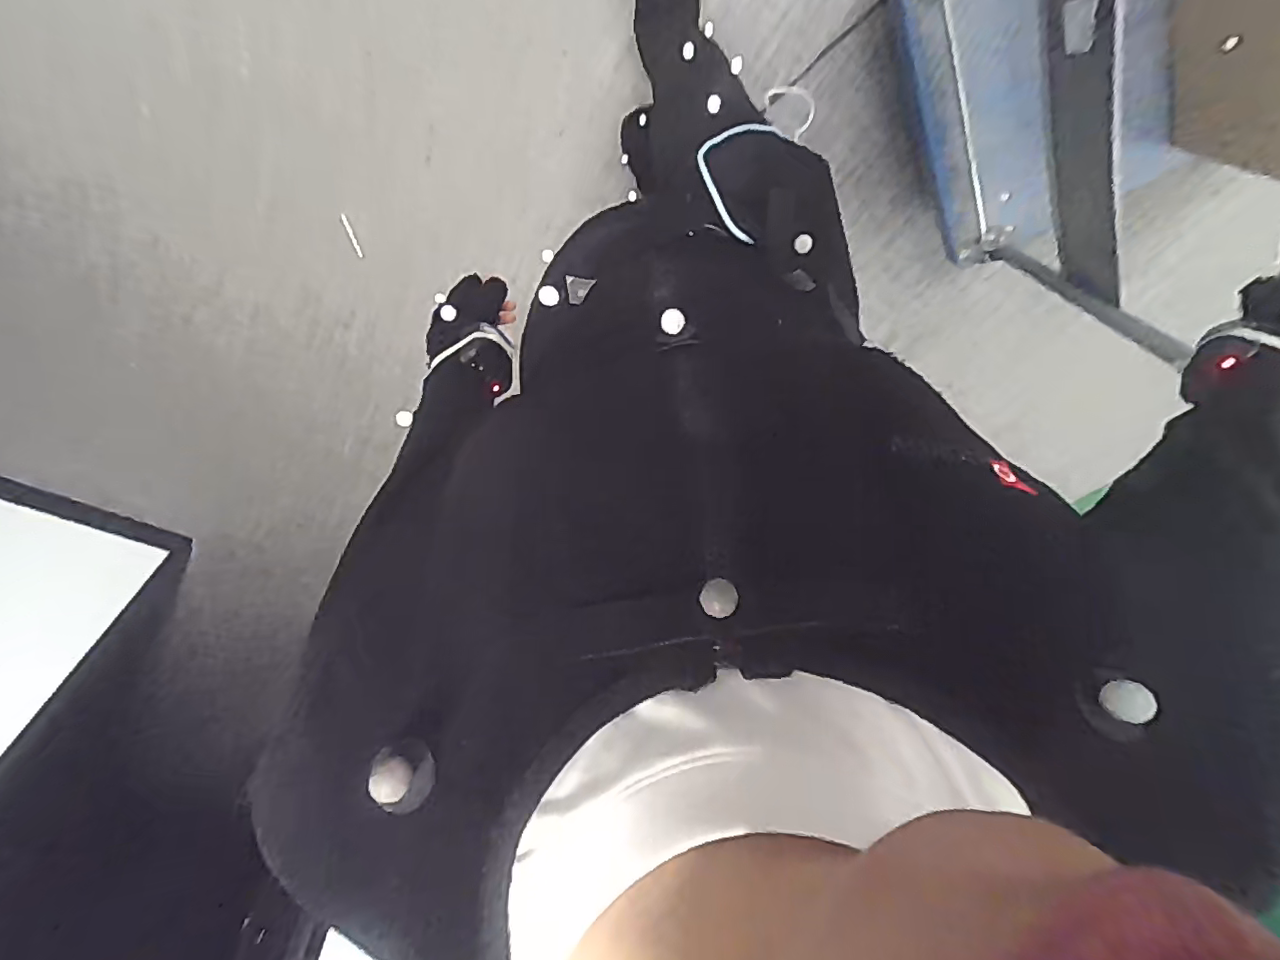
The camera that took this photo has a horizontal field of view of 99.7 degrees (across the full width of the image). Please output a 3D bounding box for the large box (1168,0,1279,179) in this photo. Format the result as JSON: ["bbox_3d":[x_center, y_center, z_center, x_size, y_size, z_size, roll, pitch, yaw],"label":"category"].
[{"bbox_3d":[0.974,-0.685,0.704,0.320,0.320,0.408,-27,126,23],"label":"large box"}]
